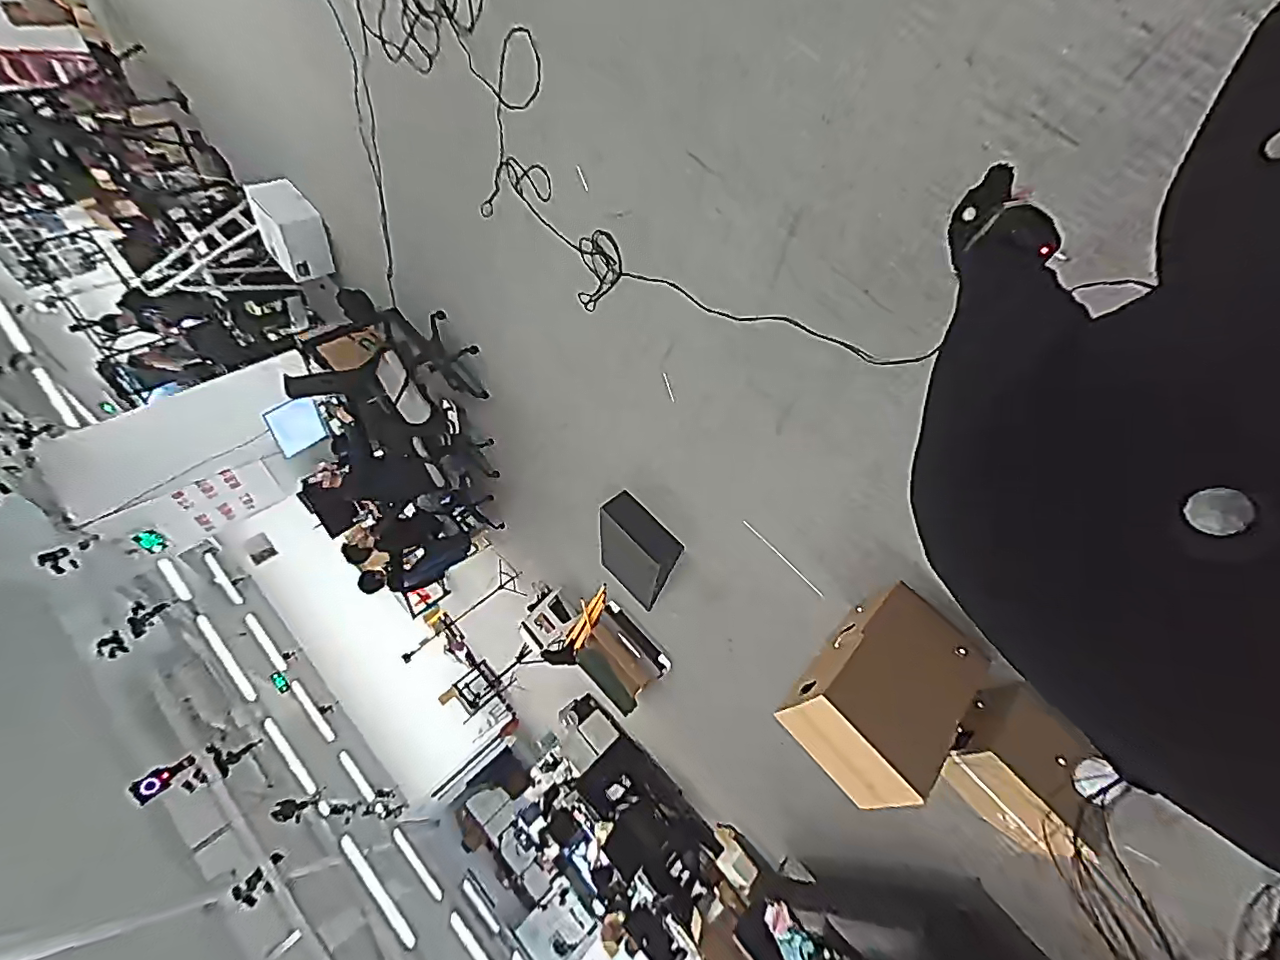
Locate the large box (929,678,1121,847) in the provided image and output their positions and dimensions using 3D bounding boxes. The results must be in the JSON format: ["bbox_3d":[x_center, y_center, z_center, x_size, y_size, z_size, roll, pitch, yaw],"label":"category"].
[{"bbox_3d":[1.314,0.963,1.865,0.408,0.320,0.320,45,149,12],"label":"large box"}]
